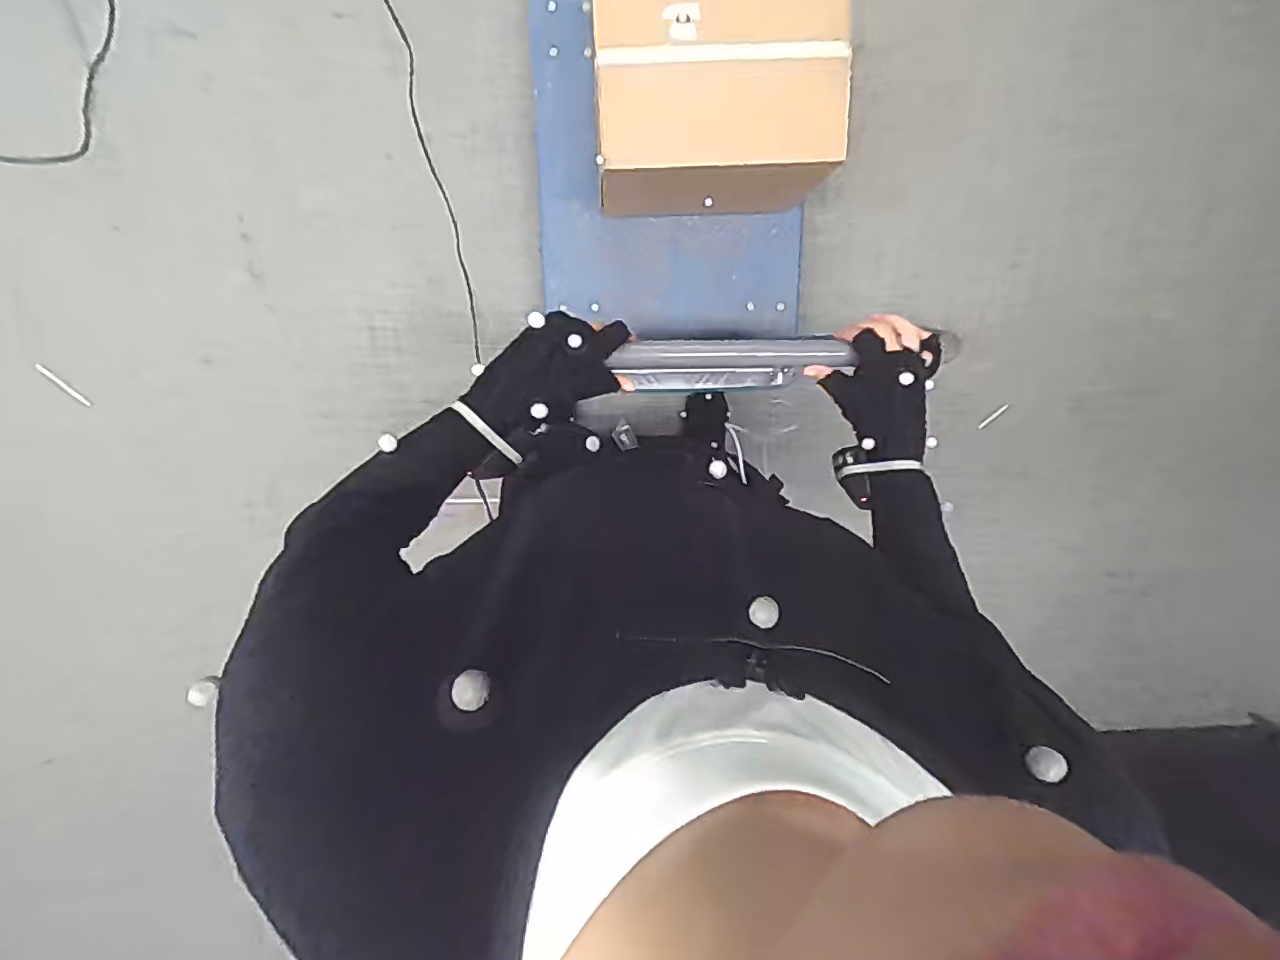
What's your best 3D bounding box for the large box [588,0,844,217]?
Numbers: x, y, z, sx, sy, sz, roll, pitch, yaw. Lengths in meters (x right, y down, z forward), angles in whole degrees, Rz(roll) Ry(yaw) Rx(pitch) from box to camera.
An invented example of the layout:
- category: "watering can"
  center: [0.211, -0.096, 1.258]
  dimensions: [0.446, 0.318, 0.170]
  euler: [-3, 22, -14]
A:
- category: "large box"
  center: [0.120, -0.694, 0.999]
  dimensions: [0.408, 0.320, 0.320]
  euler: [-3, 102, -2]
